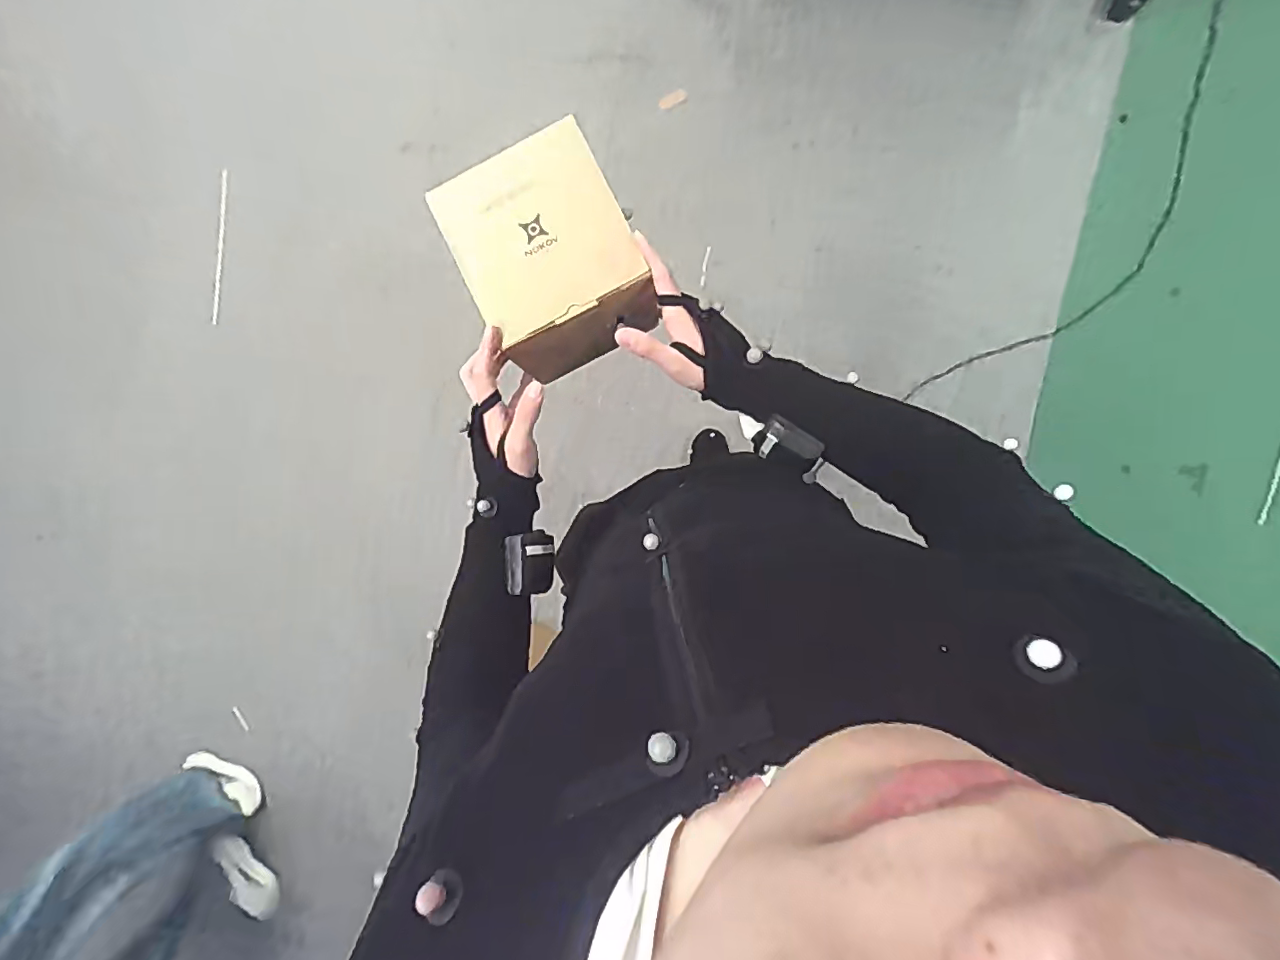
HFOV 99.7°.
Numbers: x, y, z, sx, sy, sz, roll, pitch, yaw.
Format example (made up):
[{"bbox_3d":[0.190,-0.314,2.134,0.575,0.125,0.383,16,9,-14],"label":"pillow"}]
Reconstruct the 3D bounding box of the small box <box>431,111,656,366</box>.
[{"bbox_3d":[-0.088,-0.240,0.595,0.168,0.176,0.179,-25,87,3],"label":"small box"}]
